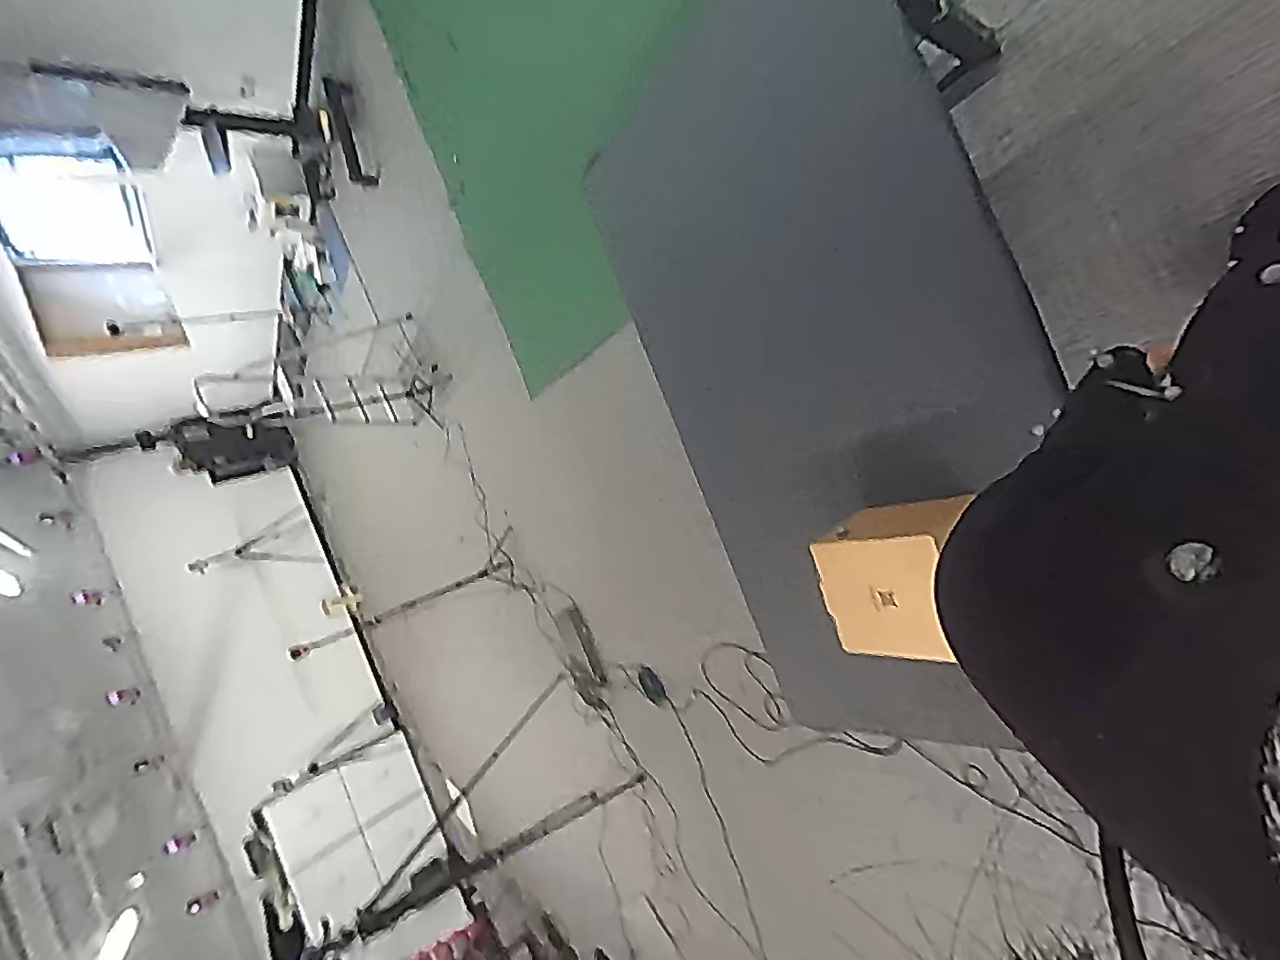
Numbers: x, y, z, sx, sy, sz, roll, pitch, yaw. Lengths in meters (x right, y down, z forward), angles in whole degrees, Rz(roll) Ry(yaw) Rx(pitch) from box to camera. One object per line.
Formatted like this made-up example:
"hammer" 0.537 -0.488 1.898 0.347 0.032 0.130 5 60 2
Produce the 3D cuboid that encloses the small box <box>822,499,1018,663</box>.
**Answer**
"small box" 0.395 0.135 0.754 0.179 0.176 0.168 -18 92 53
